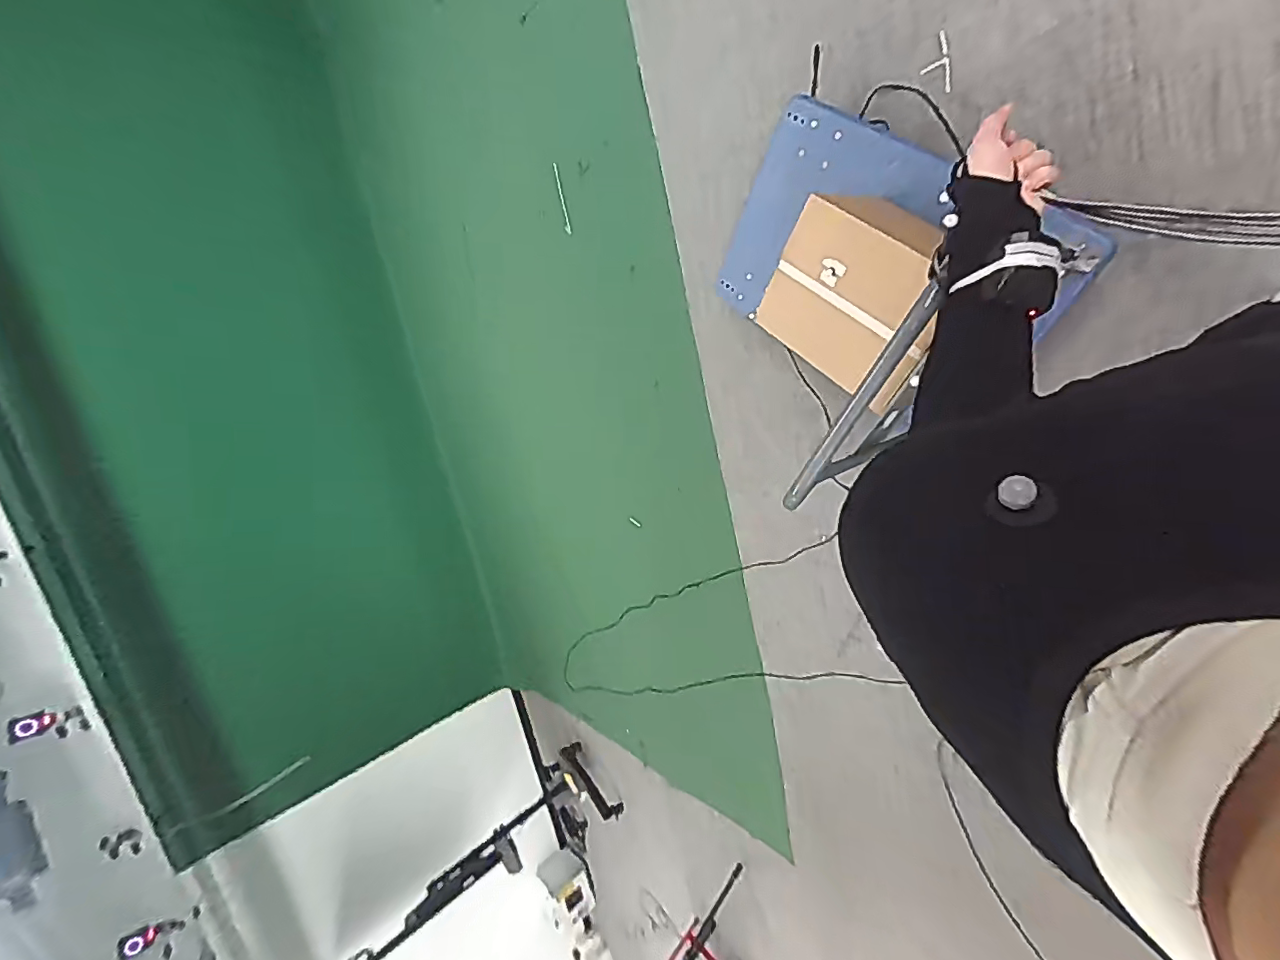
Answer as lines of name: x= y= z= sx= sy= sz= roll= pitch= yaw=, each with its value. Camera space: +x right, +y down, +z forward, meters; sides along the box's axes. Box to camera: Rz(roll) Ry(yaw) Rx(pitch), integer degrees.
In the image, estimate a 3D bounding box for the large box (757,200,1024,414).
large box: x=0.565 y=-0.415 z=1.265 sx=0.408 sy=0.320 sz=0.320 roll=48 pitch=137 yaw=27
